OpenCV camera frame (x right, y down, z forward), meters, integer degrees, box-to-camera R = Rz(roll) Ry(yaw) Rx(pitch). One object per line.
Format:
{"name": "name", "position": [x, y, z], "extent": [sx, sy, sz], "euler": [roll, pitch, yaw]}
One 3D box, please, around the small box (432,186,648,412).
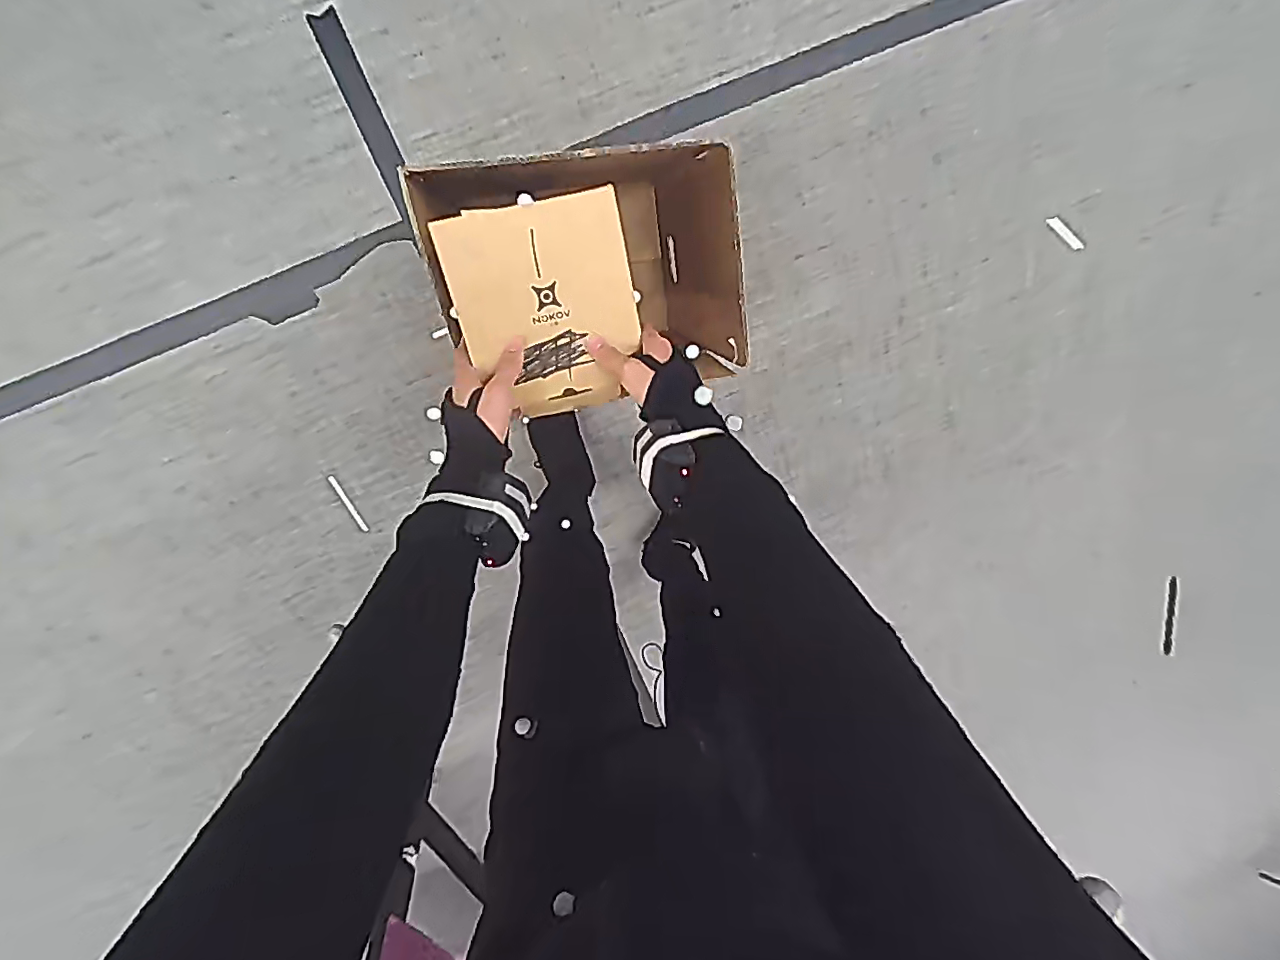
{"name": "small box", "position": [-0.097, -0.188, 0.566], "extent": [0.168, 0.176, 0.179], "euler": [-14, 112, -6]}
